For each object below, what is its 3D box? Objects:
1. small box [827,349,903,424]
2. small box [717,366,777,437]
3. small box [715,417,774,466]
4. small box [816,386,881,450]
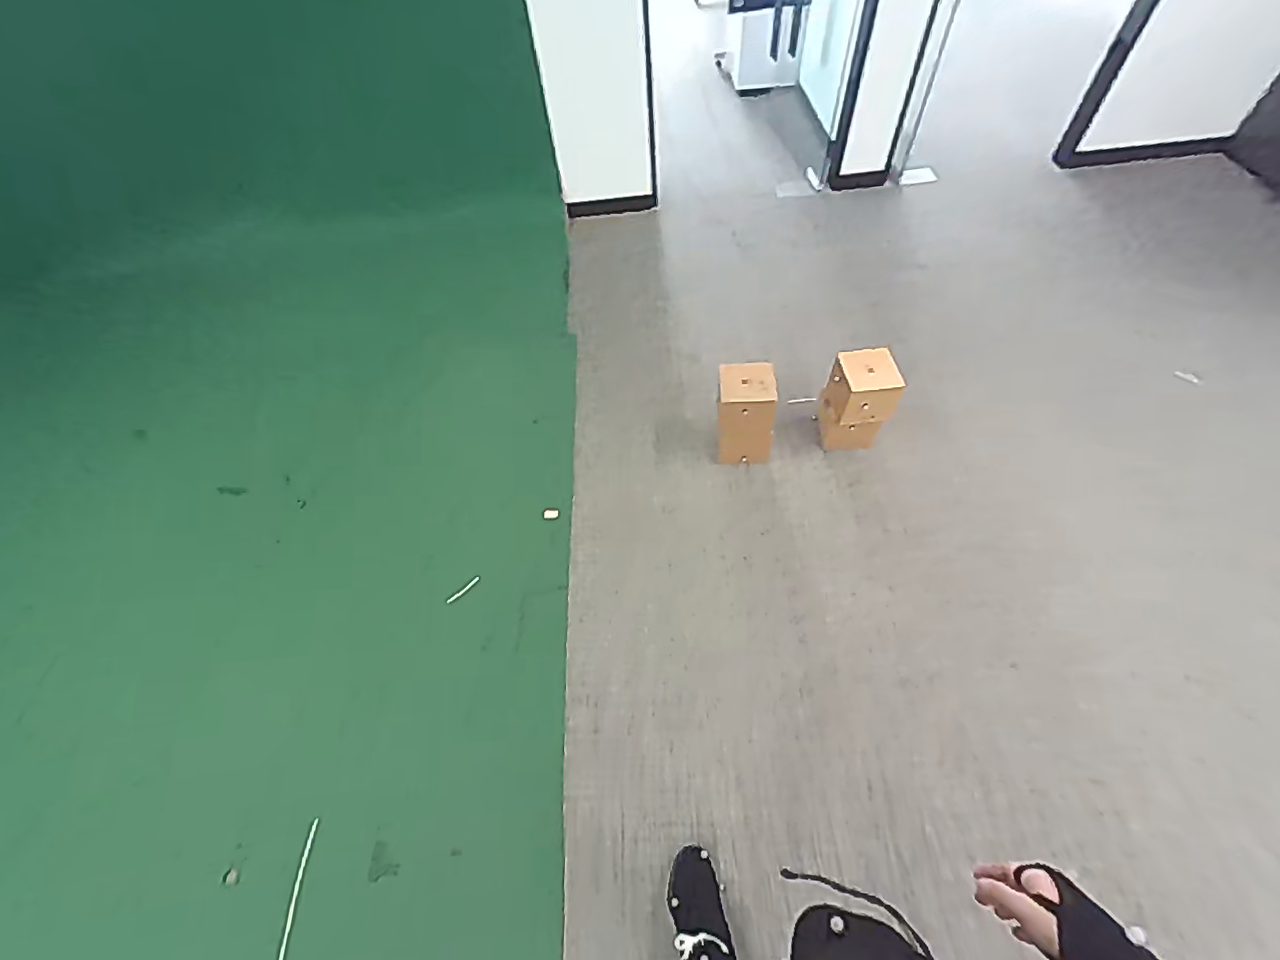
[{"bbox_3d":[0.725,-0.298,1.763,0.168,0.176,0.179,-7,55,1],"label":"small box"},{"bbox_3d":[0.342,-0.253,1.766,0.179,0.176,0.168,-1,56,4],"label":"small box"},{"bbox_3d":[0.362,-0.161,1.901,0.179,0.176,0.168,-2,56,4],"label":"small box"},{"bbox_3d":[0.732,-0.220,1.905,0.179,0.176,0.168,-3,56,2],"label":"small box"}]
